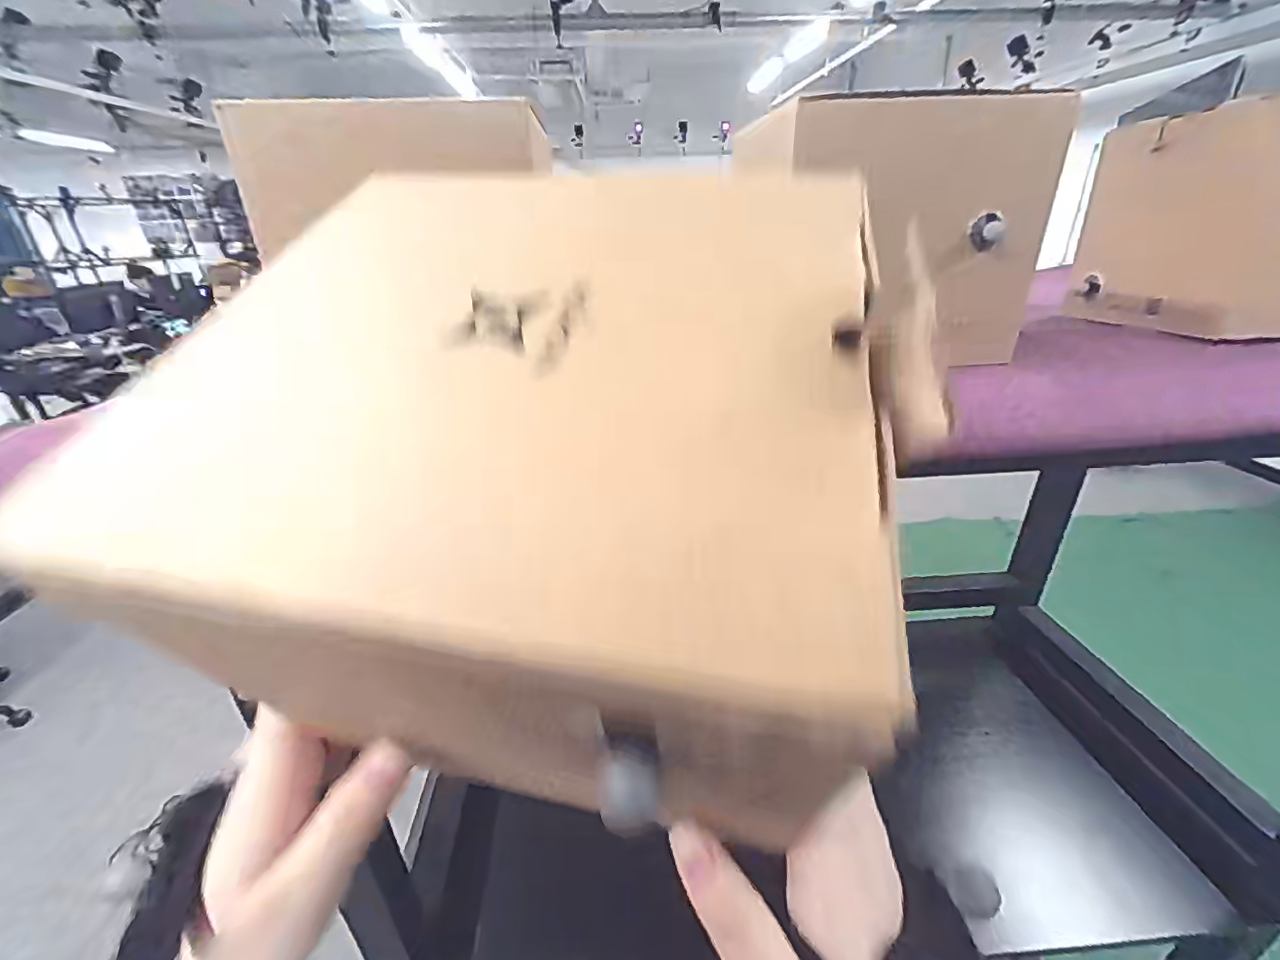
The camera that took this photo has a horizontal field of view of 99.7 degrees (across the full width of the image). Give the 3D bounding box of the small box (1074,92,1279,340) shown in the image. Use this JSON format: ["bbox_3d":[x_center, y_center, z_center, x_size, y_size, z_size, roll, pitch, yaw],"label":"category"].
[{"bbox_3d":[0.518,-0.217,0.459,0.179,0.176,0.168,-3,24,-1],"label":"small box"}]

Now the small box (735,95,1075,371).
[{"bbox_3d":[0.173,-0.184,0.424,0.179,0.176,0.168,-4,26,-3],"label":"small box"}]

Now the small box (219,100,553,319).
[{"bbox_3d":[-0.148,-0.165,0.400,0.168,0.176,0.179,-3,27,-4],"label":"small box"}]
